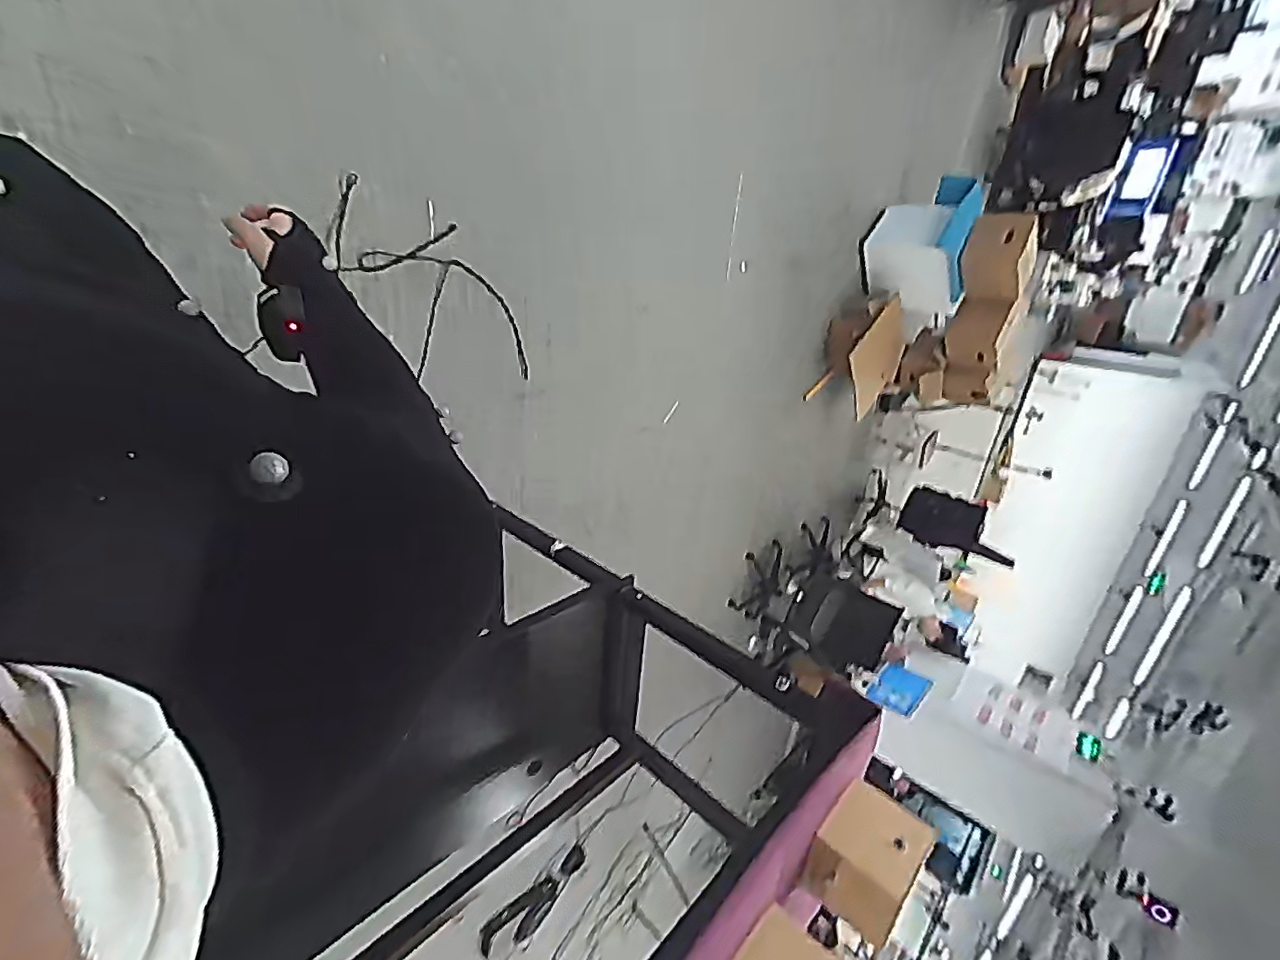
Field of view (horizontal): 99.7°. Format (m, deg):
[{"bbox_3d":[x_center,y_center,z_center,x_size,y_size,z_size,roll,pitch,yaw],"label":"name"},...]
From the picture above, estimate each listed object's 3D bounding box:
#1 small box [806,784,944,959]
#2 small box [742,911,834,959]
[{"bbox_3d":[0.444,0.732,1.033,0.179,0.176,0.168,-21,123,-41],"label":"small box"},{"bbox_3d":[0.217,0.818,0.807,0.179,0.176,0.168,-18,122,-44],"label":"small box"}]
